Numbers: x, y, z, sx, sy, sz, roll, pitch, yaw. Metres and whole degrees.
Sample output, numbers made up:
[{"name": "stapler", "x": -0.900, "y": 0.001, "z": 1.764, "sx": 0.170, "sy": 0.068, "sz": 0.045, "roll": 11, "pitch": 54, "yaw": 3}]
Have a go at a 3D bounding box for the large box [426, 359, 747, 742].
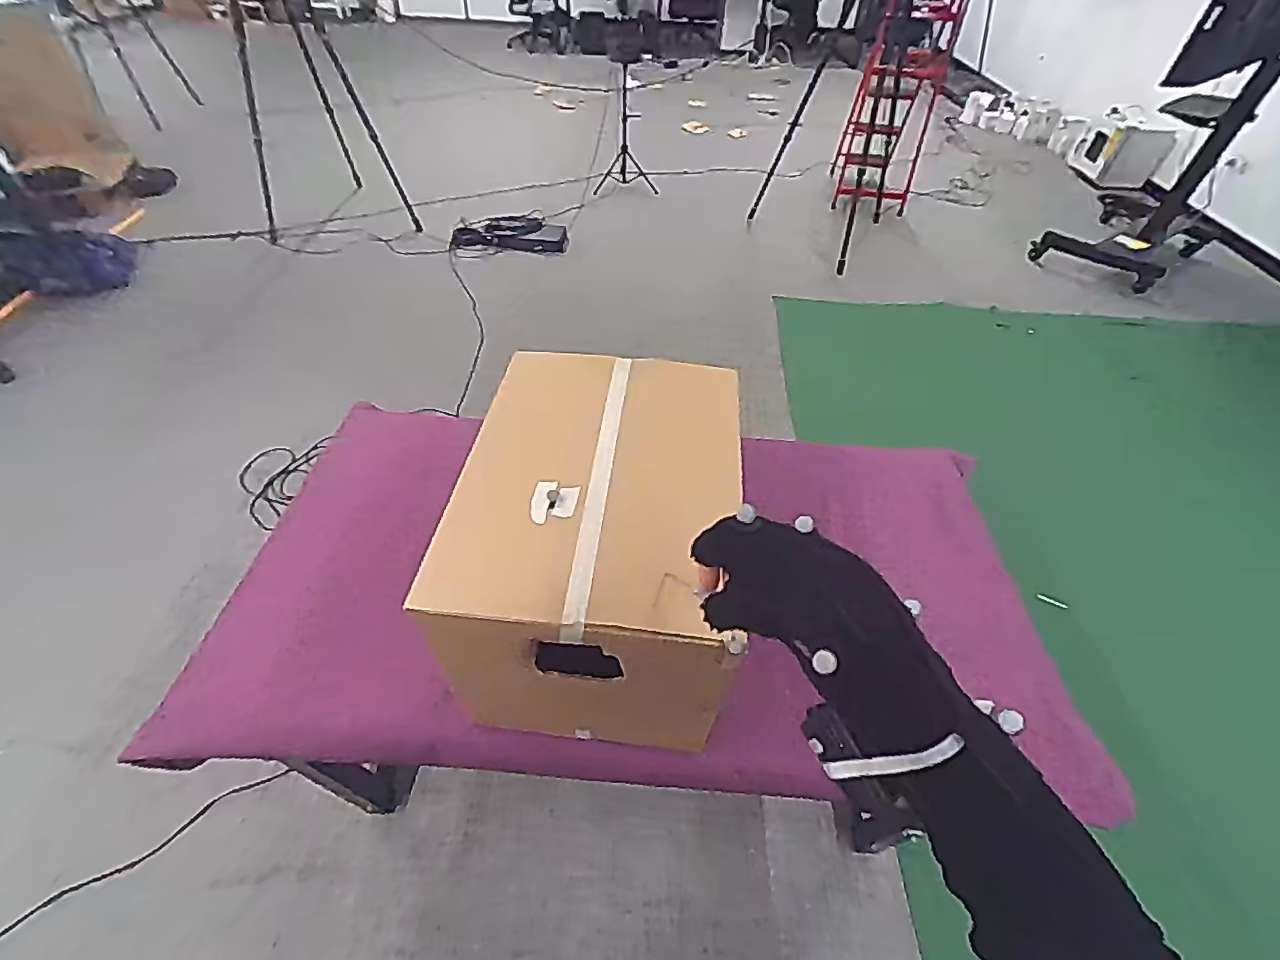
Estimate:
[{"name": "large box", "x": -0.043, "y": 0.090, "z": 0.744, "sx": 0.320, "sy": 0.320, "sz": 0.408, "roll": 6, "pitch": 49, "yaw": 2}]
